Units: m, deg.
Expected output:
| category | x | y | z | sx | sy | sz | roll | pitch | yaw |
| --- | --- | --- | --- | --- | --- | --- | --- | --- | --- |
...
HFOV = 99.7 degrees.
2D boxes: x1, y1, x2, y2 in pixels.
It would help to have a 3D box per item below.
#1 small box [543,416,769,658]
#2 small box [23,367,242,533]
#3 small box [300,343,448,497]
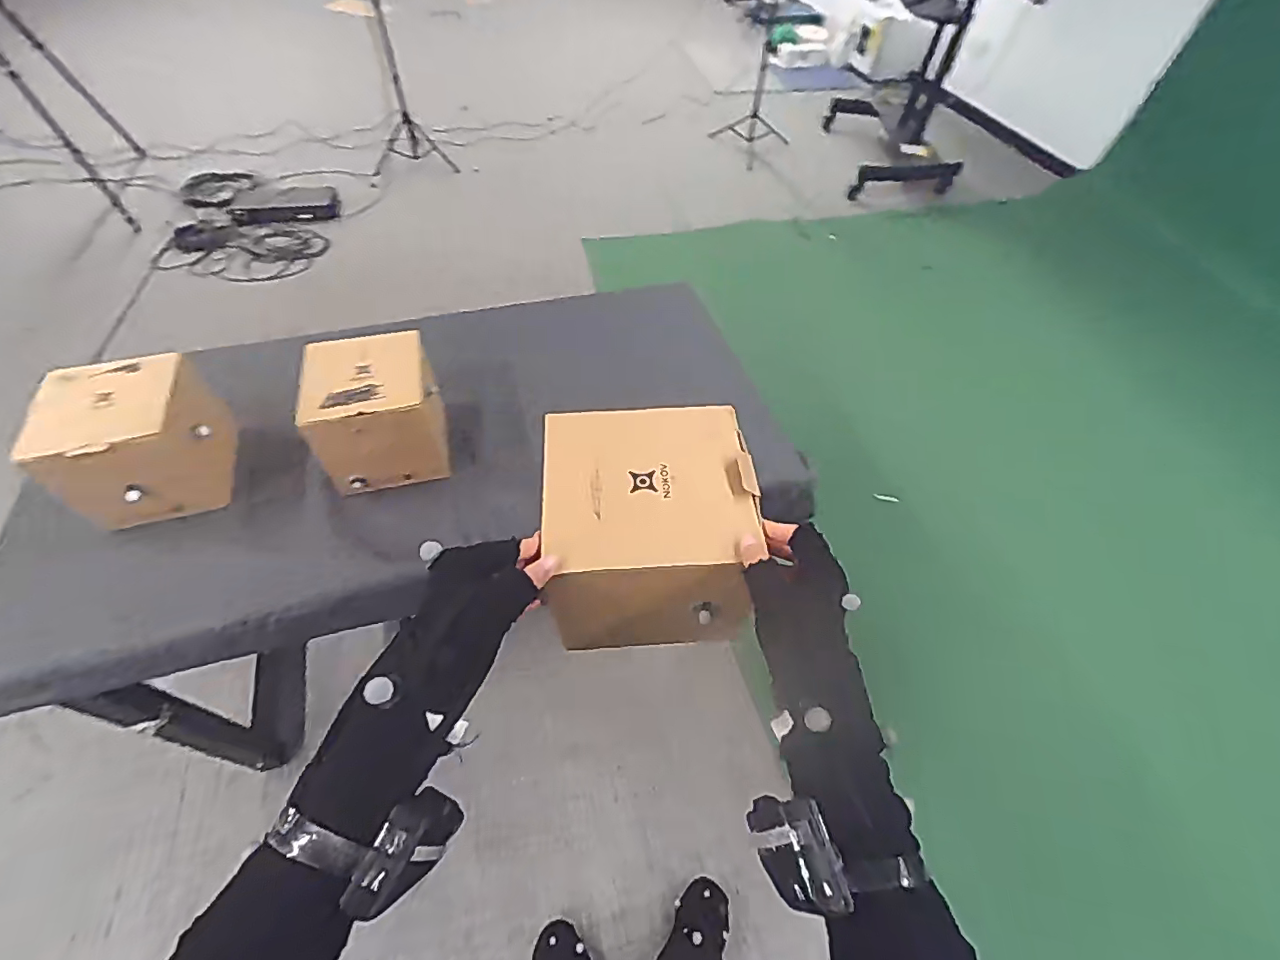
| category | x | y | z | sx | sy | sz | roll | pitch | yaw |
| --- | --- | --- | --- | --- | --- | --- | --- | --- | --- |
| small box | 0.009 | 0.059 | 0.521 | 0.179 | 0.176 | 0.168 | -5 | 52 | -1 |
| small box | -0.737 | -0.037 | 0.813 | 0.168 | 0.176 | 0.179 | -14 | 55 | -13 |
| small box | -0.414 | -0.089 | 0.869 | 0.168 | 0.176 | 0.179 | -11 | 53 | -11 |
